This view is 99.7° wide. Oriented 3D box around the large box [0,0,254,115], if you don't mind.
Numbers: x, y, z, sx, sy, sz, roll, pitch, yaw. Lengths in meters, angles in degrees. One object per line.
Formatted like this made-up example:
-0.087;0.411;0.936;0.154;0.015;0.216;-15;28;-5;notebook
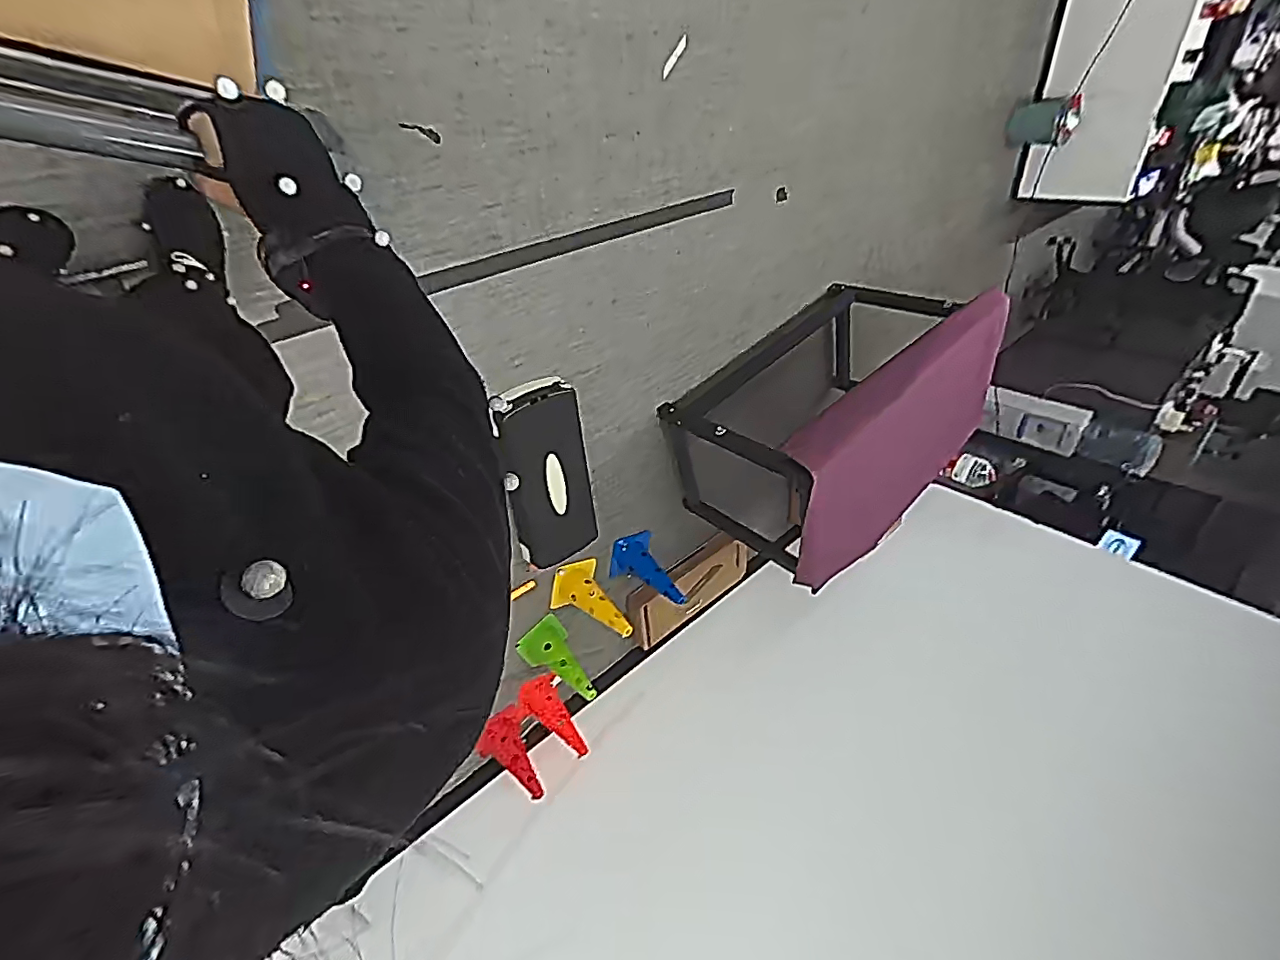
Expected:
-0.740;-0.664;0.632;0.408;0.320;0.320;-12;122;-40;large box
